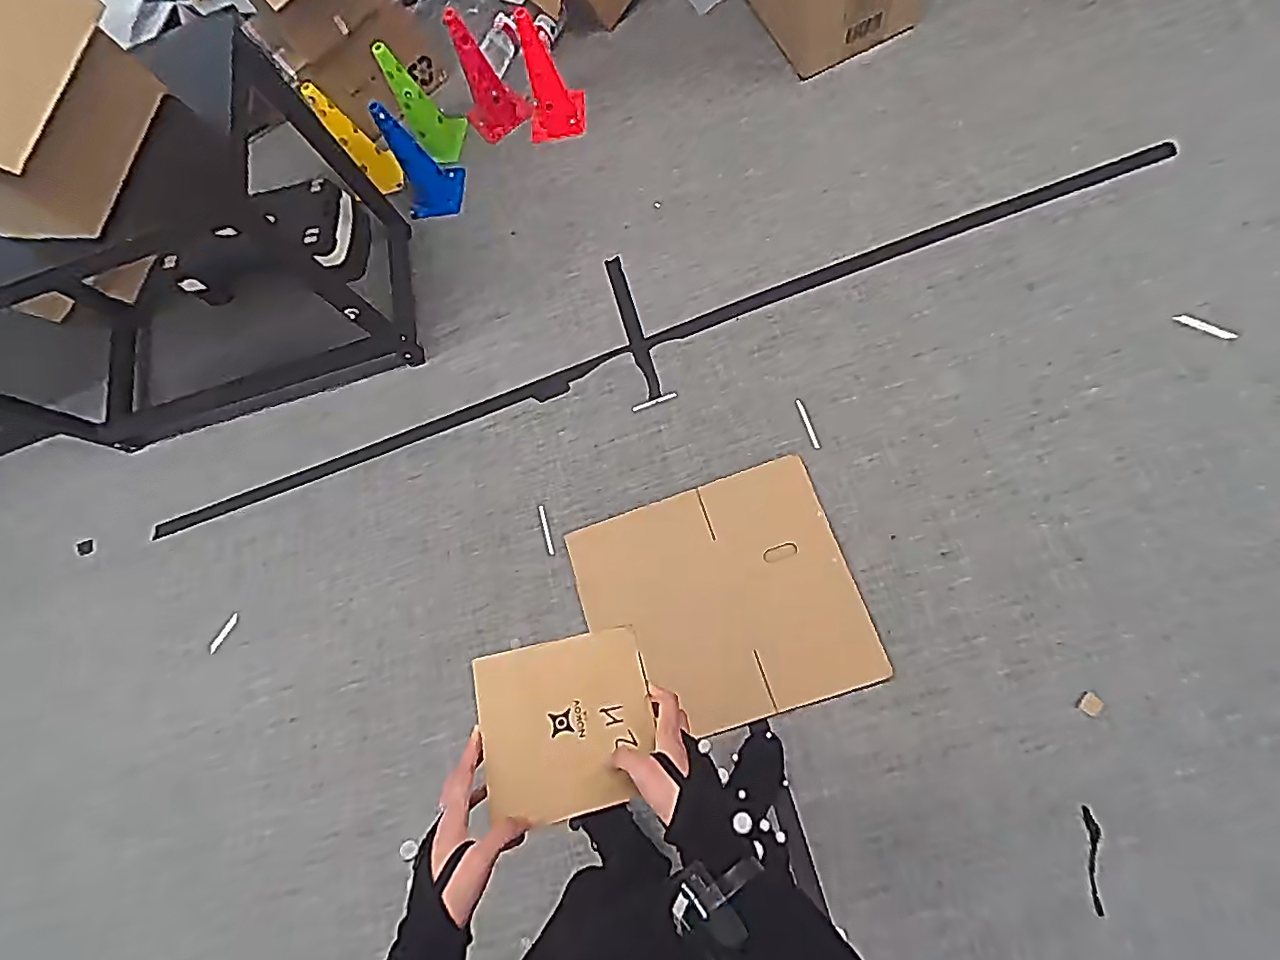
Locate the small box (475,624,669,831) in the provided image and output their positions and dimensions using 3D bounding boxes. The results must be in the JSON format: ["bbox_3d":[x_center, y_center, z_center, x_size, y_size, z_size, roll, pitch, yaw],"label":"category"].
[{"bbox_3d":[-0.081,0.277,0.617,0.179,0.176,0.168,-8,66,-13],"label":"small box"}]
